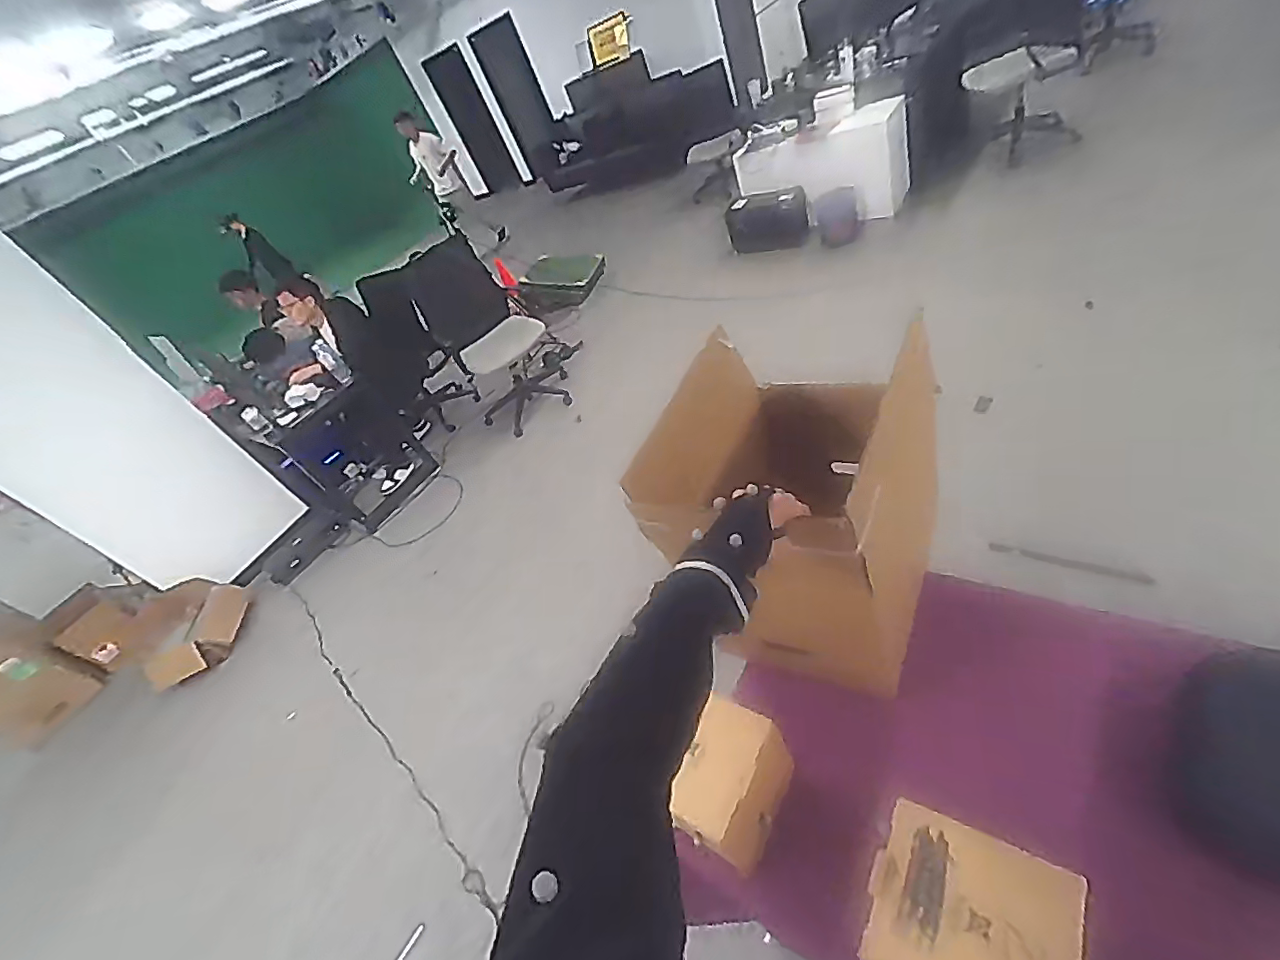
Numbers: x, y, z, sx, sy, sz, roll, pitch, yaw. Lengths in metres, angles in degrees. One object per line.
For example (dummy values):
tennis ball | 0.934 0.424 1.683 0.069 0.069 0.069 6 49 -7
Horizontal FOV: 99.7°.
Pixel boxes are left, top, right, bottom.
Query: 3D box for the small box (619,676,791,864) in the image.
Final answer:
small box | 0.104 0.431 0.806 0.179 0.176 0.168 12 53 37
